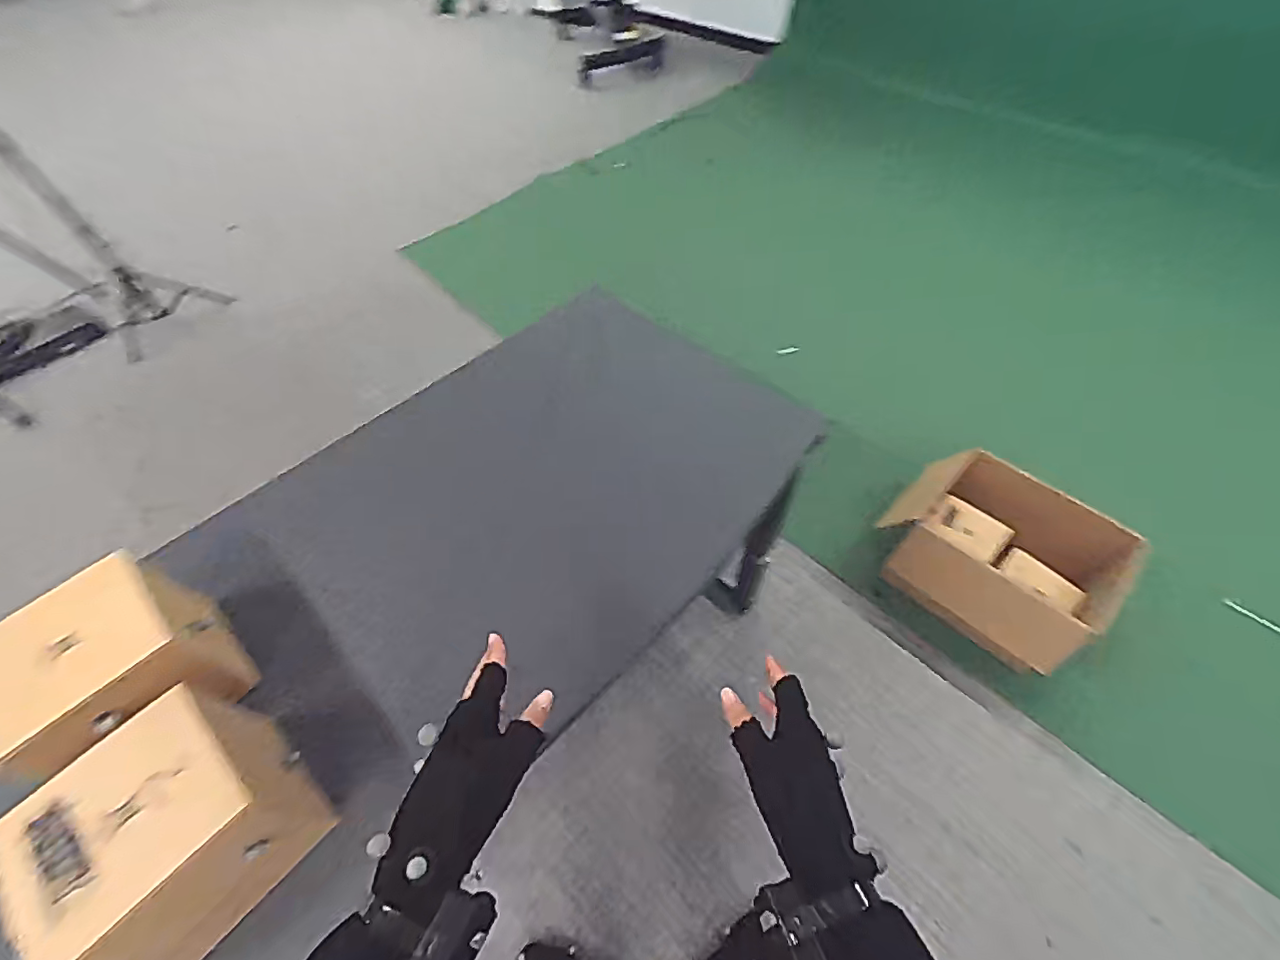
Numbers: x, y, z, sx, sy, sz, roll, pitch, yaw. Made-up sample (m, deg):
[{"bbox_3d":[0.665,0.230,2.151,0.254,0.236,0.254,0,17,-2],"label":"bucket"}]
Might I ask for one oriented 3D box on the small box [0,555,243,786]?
[{"bbox_3d":[-0.624,0.229,0.645,0.168,0.176,0.179,37,65,24],"label":"small box"}]
